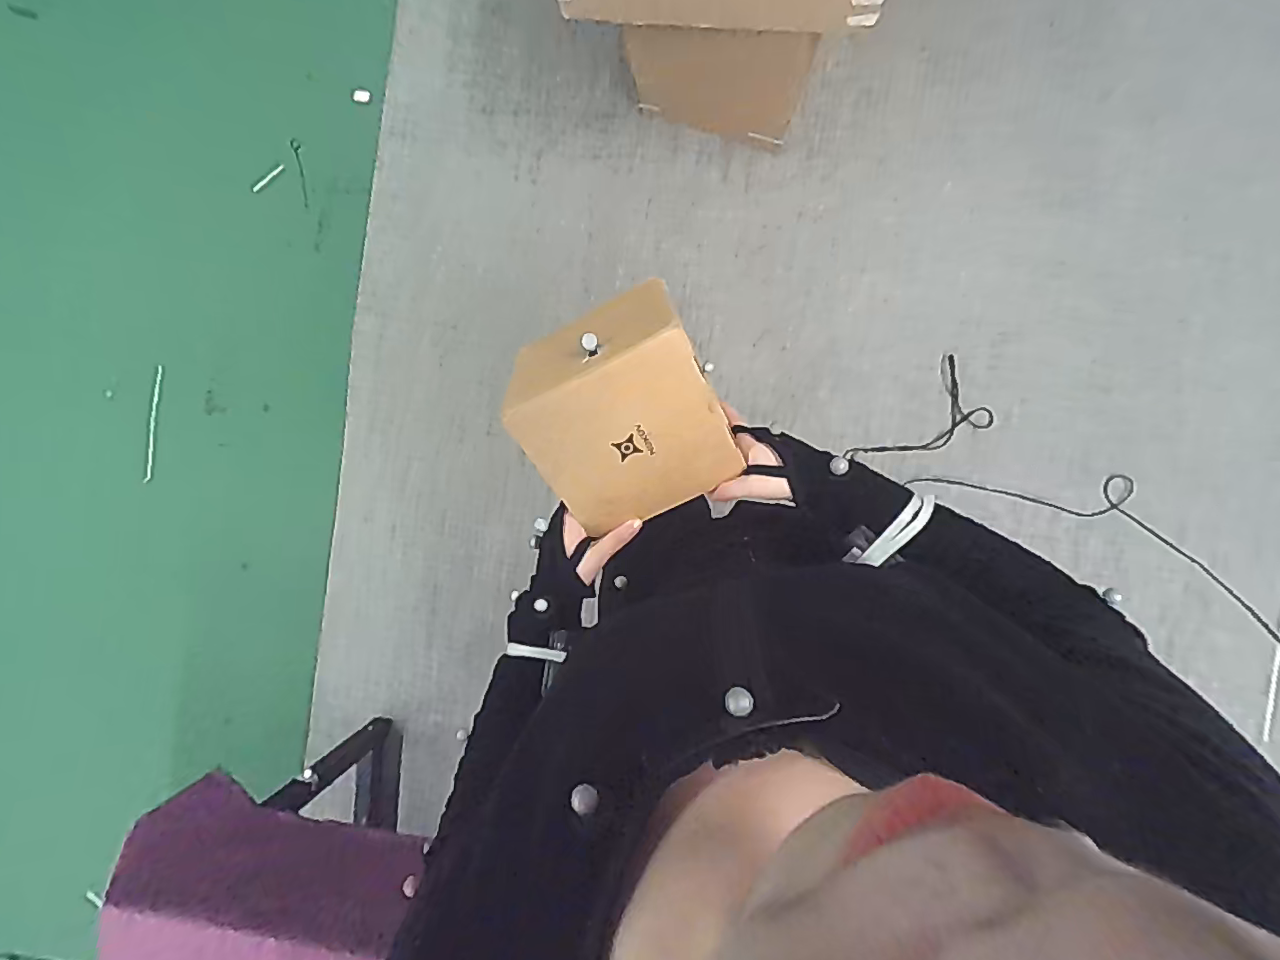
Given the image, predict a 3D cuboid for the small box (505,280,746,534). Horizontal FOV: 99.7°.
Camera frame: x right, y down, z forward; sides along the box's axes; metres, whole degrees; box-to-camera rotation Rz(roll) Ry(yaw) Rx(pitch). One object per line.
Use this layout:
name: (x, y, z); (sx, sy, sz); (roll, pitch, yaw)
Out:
small box: (-0.013, -0.081, 0.564); (0.179, 0.176, 0.168); (-25, 122, 10)
